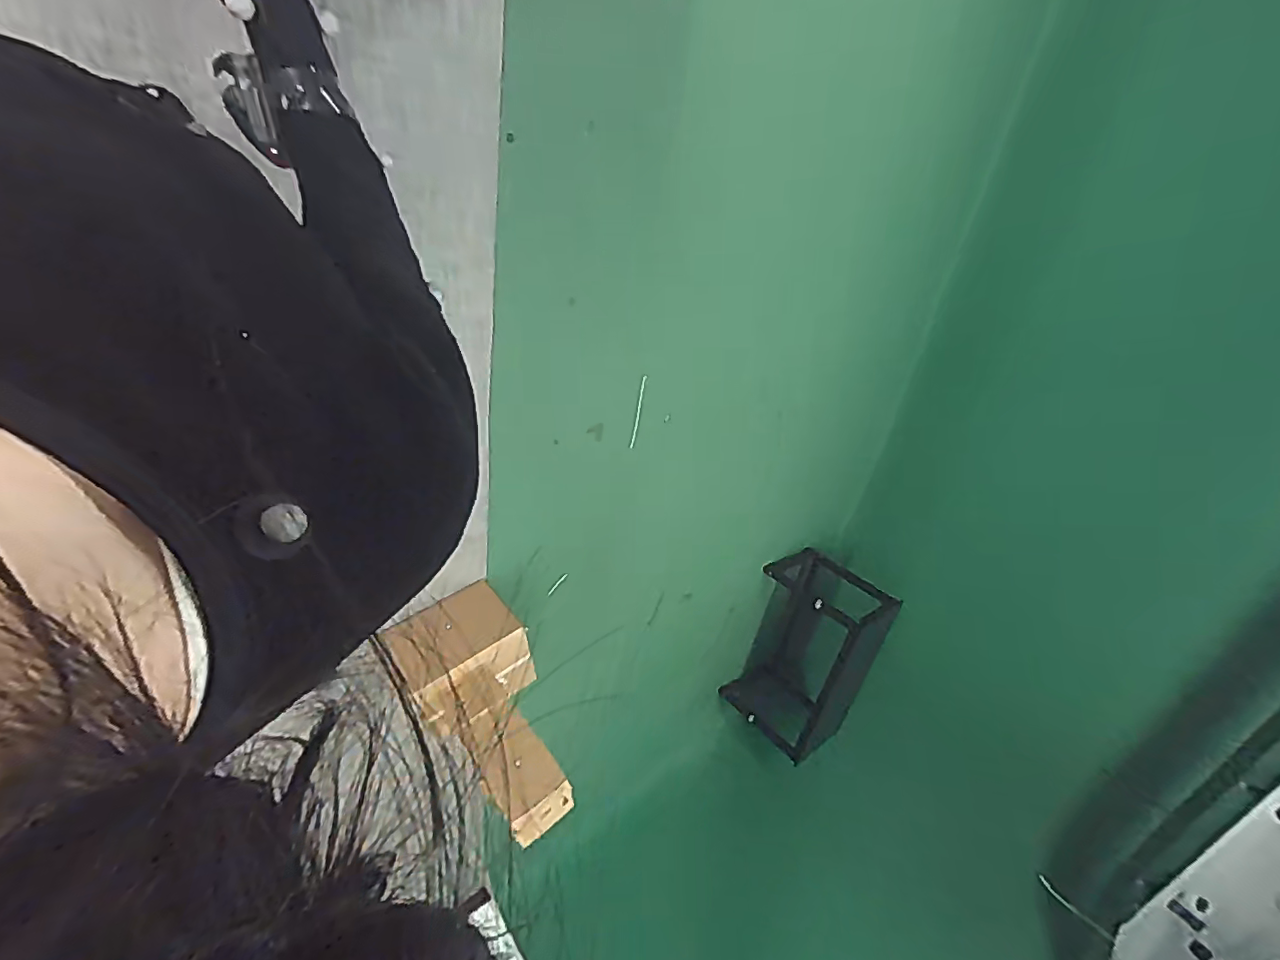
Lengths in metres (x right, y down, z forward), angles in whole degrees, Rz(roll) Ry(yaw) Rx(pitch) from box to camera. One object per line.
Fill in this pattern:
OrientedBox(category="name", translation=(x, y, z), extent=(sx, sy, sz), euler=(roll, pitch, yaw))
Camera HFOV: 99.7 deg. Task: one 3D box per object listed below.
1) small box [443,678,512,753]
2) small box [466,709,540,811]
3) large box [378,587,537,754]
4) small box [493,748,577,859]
OrientedBox(category="small box", translation=(-0.513, 0.770, 1.743), extent=(0.168, 0.176, 0.179), euler=(-27, 132, -31))
OrientedBox(category="small box", translation=(-0.410, 0.843, 1.639), extent=(0.179, 0.176, 0.168), euler=(-28, 132, -30))
OrientedBox(category="large box", translation=(-0.639, 0.661, 1.927), extent=(0.408, 0.320, 0.320), euler=(-29, 134, -32))
OrientedBox(category="small box", translation=(-0.302, 0.913, 1.536), extent=(0.179, 0.176, 0.168), euler=(-26, 132, -30))
